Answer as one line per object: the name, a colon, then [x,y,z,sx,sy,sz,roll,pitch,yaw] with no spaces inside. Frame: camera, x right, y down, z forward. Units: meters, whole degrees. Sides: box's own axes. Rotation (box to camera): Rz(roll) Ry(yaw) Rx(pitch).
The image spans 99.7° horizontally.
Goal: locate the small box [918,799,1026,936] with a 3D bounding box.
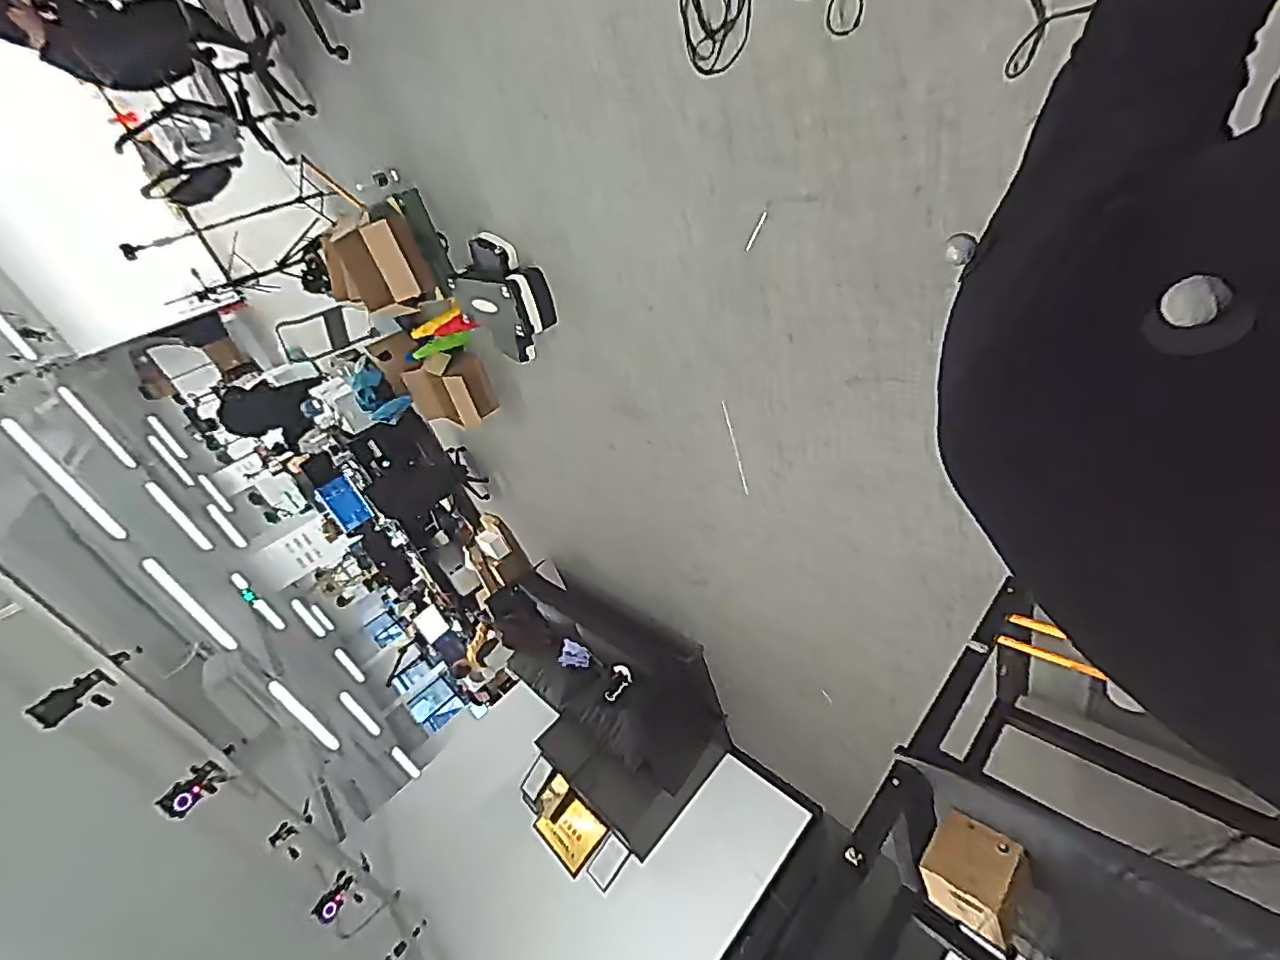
small box: [0.795,0.913,1.289,0.168,0.176,0.179,10,132,51]
